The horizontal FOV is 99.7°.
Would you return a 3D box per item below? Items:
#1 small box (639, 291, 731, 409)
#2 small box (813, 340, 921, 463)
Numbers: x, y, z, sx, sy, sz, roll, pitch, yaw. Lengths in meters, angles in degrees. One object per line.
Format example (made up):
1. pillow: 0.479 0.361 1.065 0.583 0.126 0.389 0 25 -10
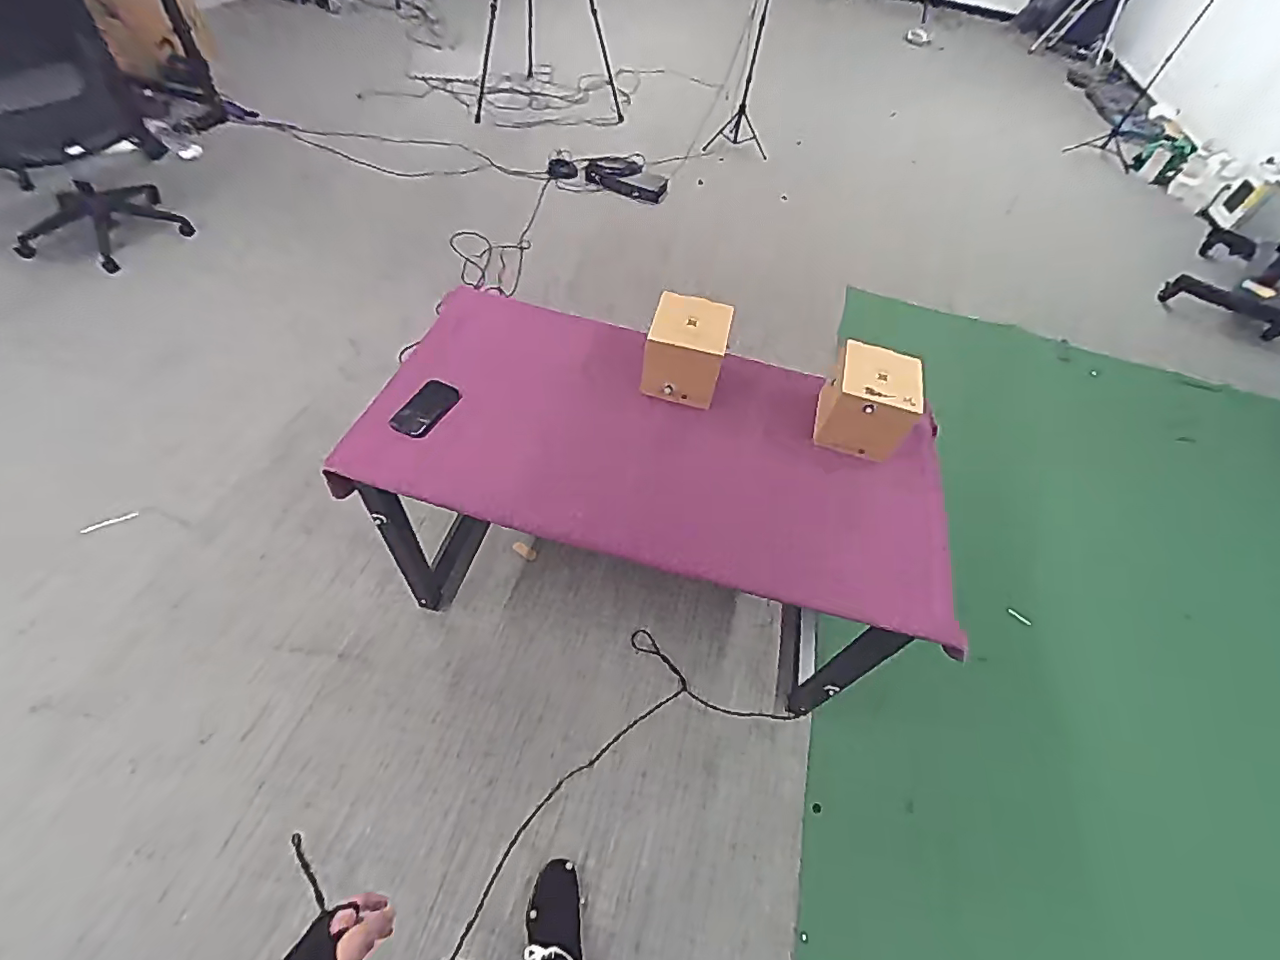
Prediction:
1. small box: 0.098 -0.290 1.217 0.168 0.176 0.179 14 54 4
2. small box: 0.489 -0.170 1.179 0.168 0.176 0.179 16 53 6
